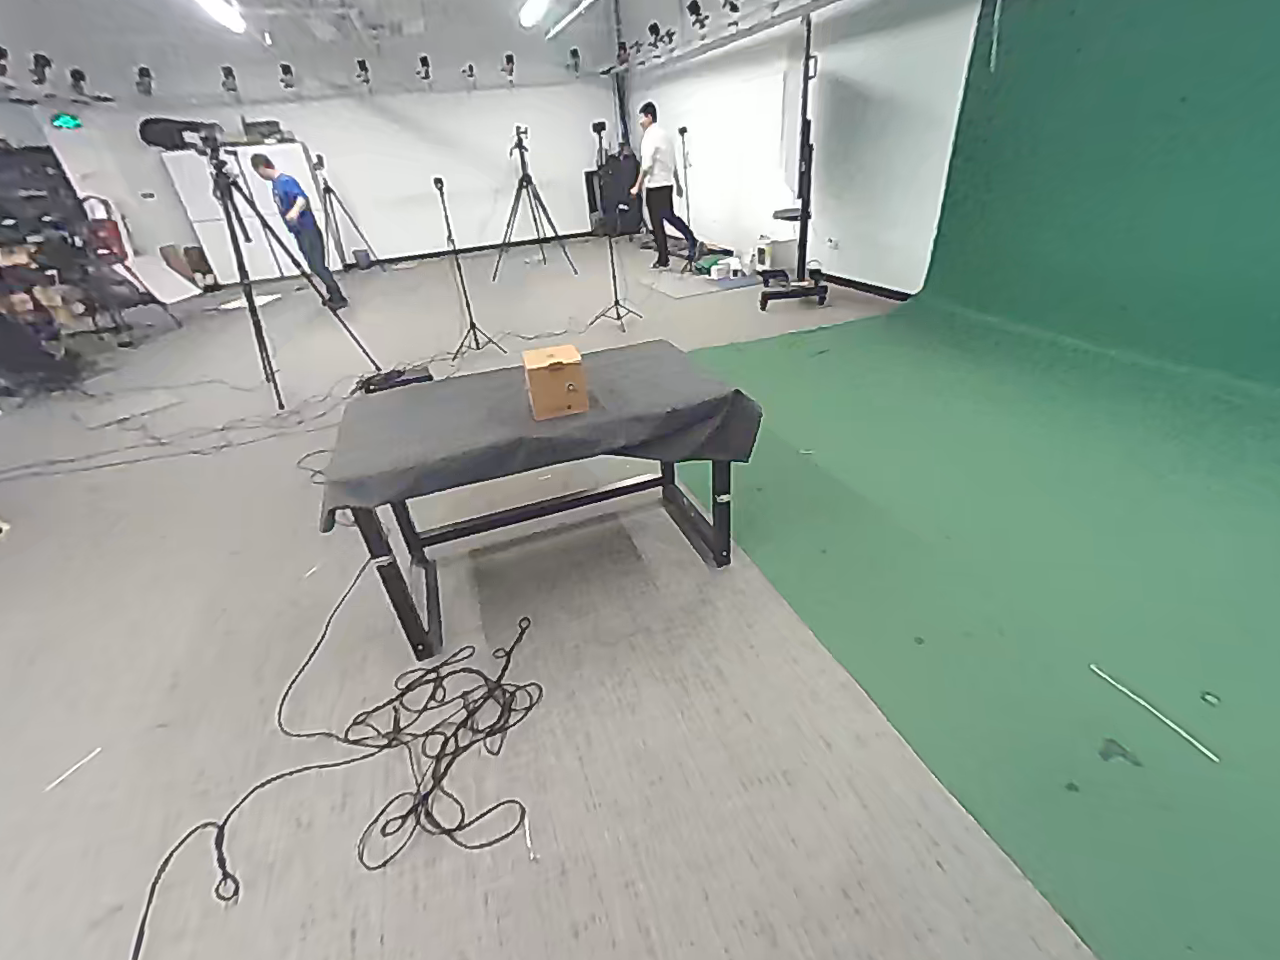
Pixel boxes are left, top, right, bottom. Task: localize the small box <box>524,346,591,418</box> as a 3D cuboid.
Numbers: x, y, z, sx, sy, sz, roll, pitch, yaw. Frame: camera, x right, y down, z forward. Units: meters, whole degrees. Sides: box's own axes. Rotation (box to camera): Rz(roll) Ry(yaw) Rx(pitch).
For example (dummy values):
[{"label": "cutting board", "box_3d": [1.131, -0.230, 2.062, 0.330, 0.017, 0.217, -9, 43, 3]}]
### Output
[{"label": "small box", "box_3d": [-0.255, -0.299, 1.673, 0.168, 0.176, 0.179, -12, 31, -12]}]
